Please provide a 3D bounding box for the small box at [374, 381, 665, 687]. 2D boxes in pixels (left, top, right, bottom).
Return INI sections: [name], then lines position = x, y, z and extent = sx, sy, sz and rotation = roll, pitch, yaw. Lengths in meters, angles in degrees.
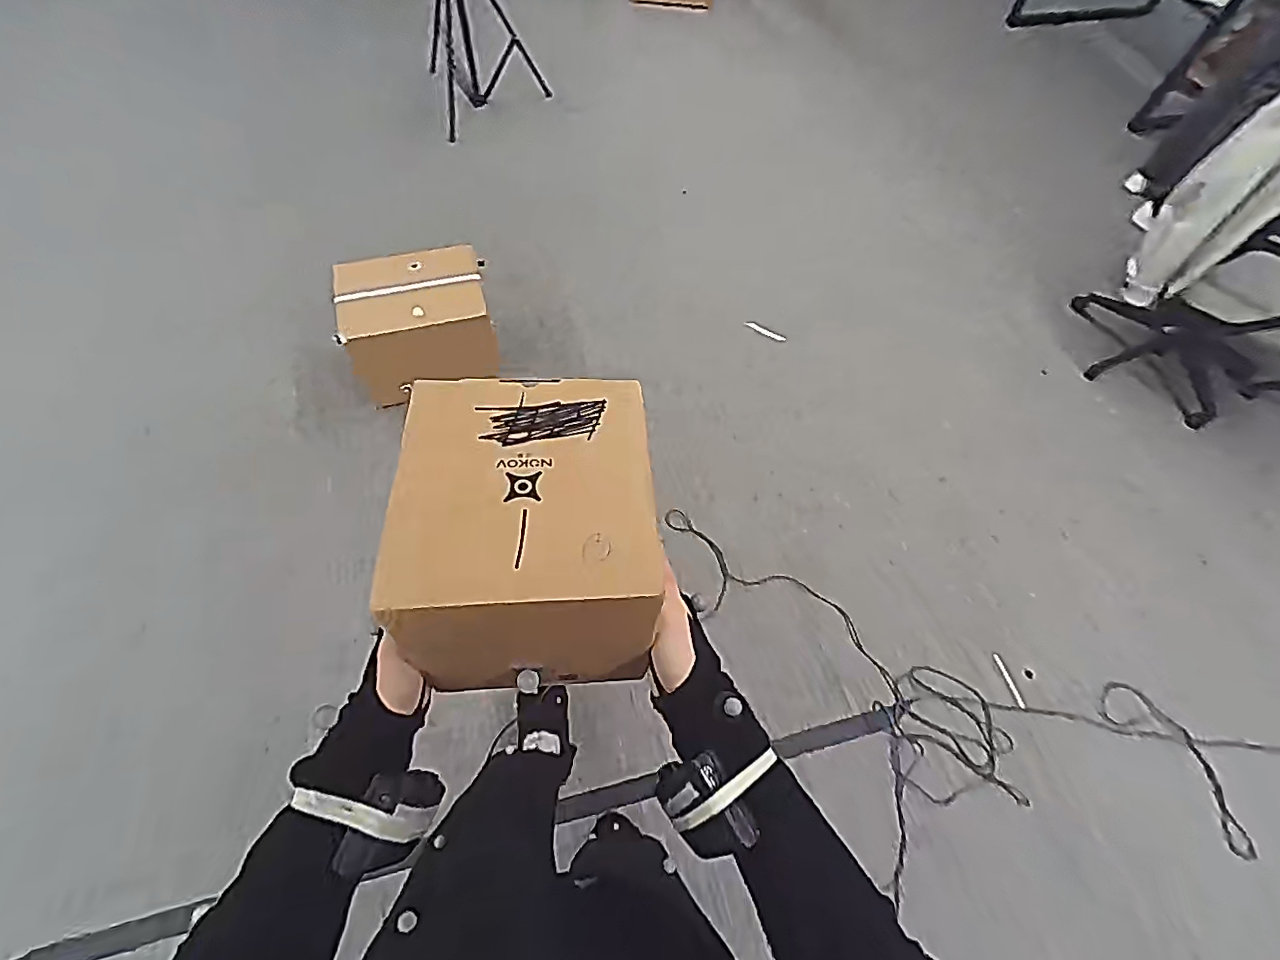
[small box]
position = -0.078, 0.044, 0.416
extent = 0.168, 0.176, 0.179
rotation = -2, 55, -6
